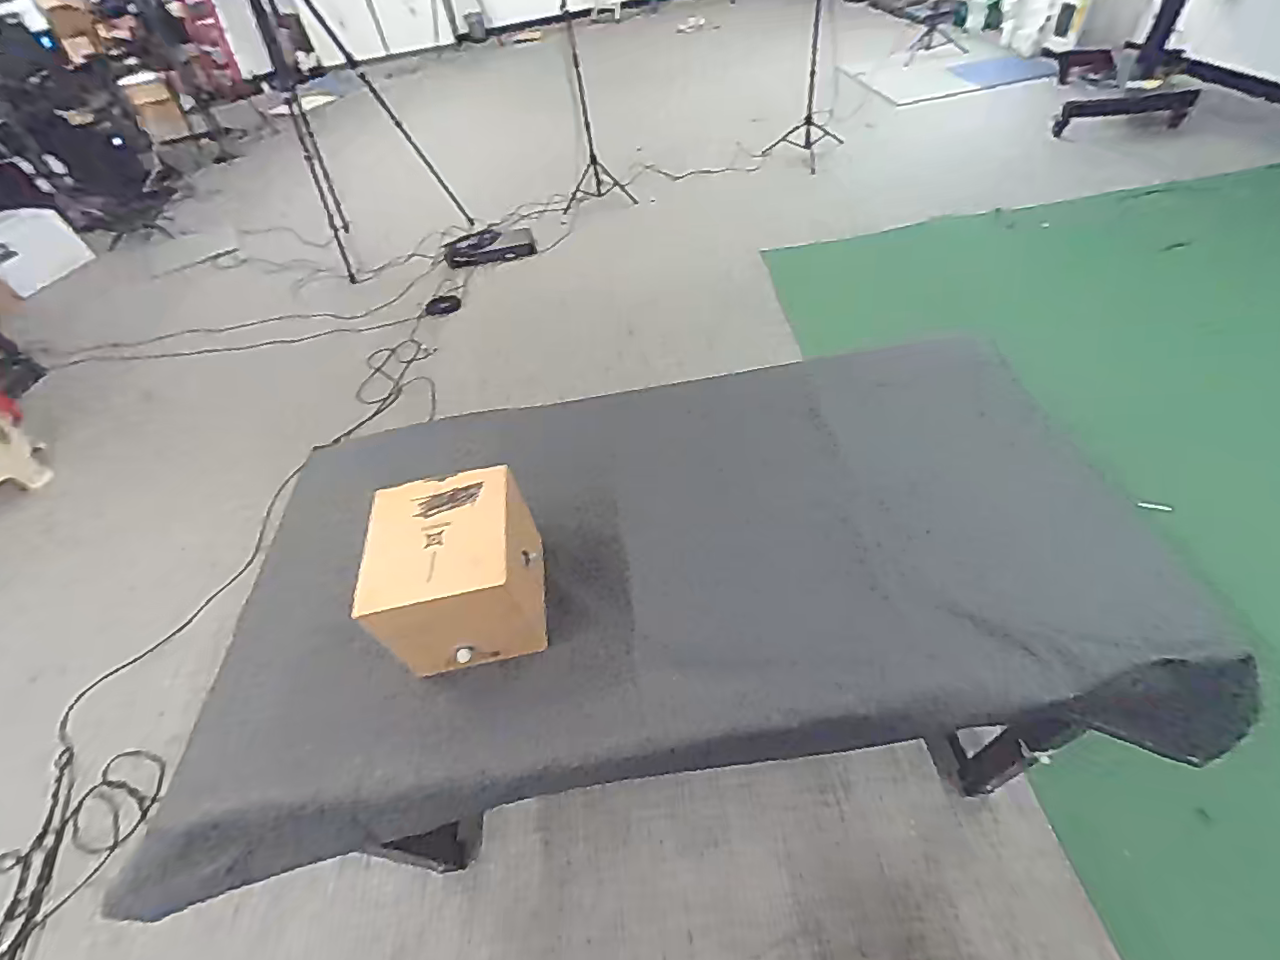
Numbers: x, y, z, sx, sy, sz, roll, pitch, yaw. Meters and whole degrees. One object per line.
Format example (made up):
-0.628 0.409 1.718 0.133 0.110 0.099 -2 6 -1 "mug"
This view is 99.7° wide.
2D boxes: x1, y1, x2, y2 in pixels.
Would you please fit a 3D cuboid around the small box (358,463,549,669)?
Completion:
-0.216 0.109 0.676 0.168 0.176 0.179 -12 49 0 "small box"
